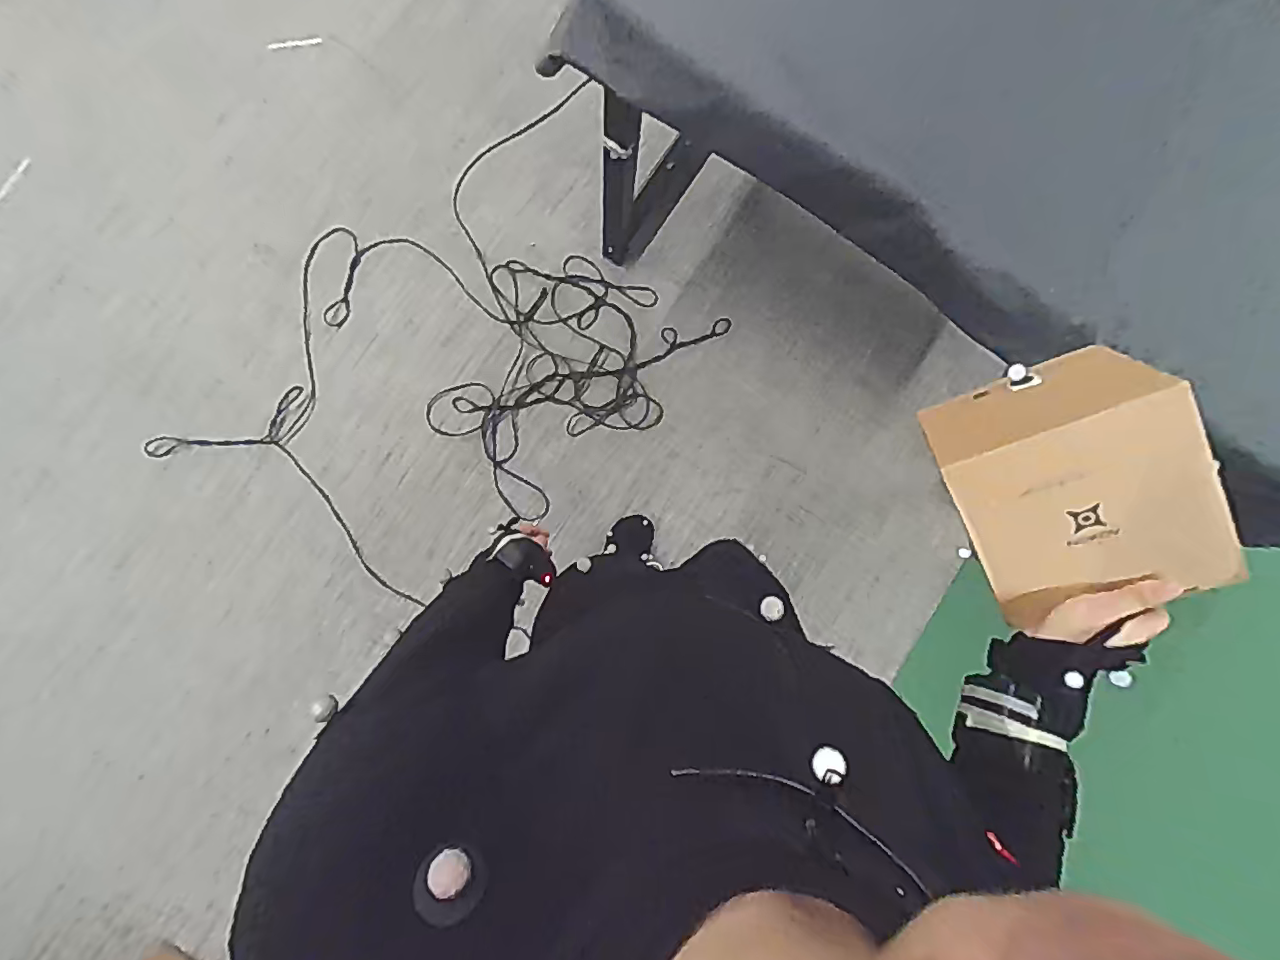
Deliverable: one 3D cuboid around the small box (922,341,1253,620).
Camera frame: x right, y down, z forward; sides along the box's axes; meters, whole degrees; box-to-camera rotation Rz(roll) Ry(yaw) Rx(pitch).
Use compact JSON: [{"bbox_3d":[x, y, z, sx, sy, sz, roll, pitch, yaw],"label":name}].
[{"bbox_3d":[0.386,-0.006,0.501,0.168,0.176,0.179,-25,102,27],"label":"small box"}]
